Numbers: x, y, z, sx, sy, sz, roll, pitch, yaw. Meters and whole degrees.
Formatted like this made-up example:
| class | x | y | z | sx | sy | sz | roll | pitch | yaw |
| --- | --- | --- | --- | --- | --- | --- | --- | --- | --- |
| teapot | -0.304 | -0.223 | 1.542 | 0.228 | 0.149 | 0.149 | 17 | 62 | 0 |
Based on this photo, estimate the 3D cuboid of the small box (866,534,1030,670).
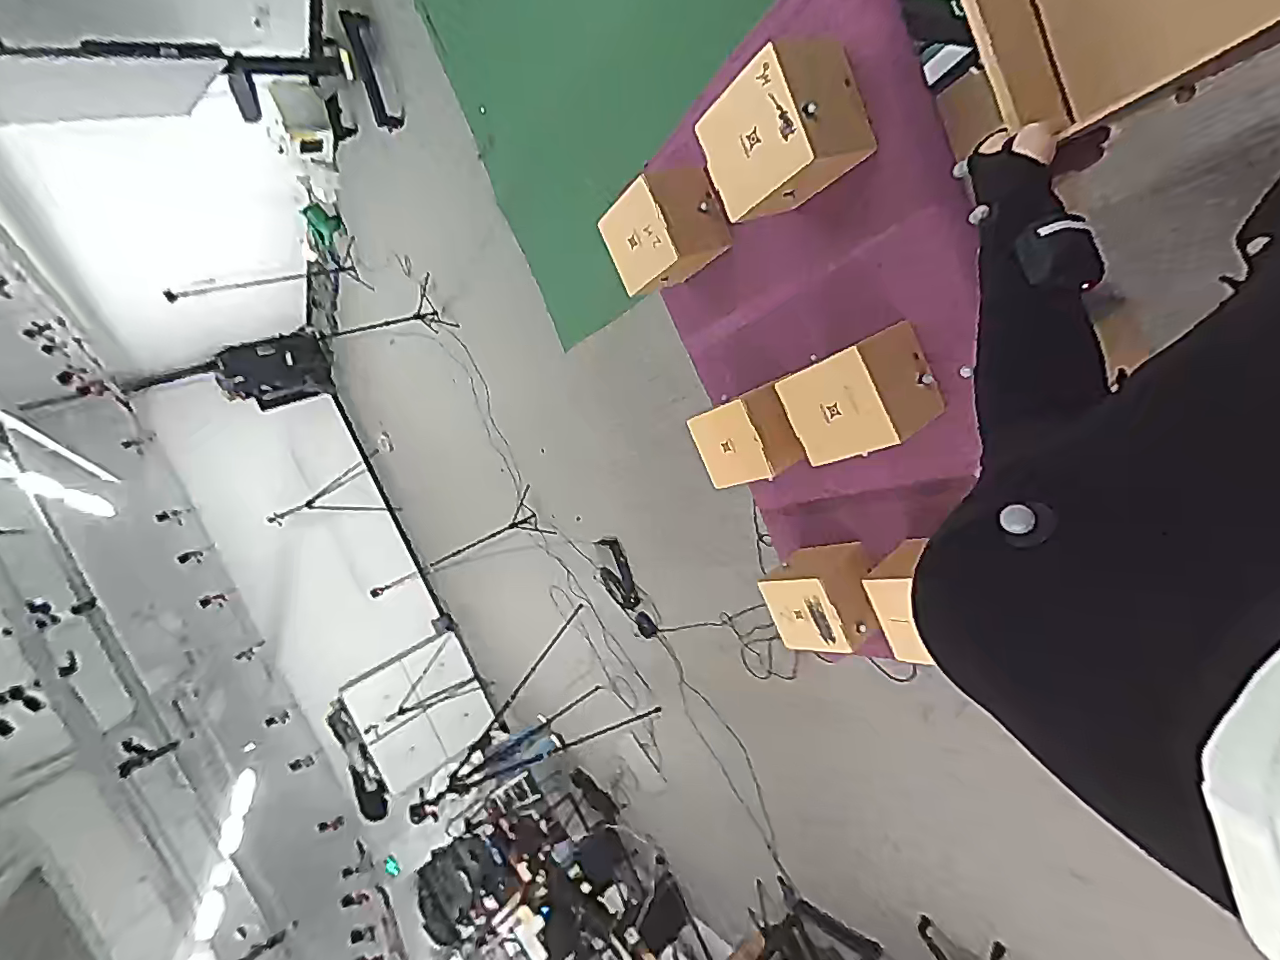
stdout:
| class | x | y | z | sx | sy | sz | roll | pitch | yaw |
| --- | --- | --- | --- | --- | --- | --- | --- | --- | --- |
| small box | 0.538 | 0.204 | 0.937 | 0.179 | 0.176 | 0.168 | -20 | 95 | 59 |

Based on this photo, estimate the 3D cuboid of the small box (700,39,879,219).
| class | x | y | z | sx | sy | sz | roll | pitch | yaw |
| --- | --- | --- | --- | --- | --- | --- | --- | --- | --- |
| small box | 0.232 | -0.538 | 0.844 | 0.179 | 0.176 | 0.168 | -13 | 103 | 59 |

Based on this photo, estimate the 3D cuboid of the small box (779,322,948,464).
| class | x | y | z | sx | sy | sz | roll | pitch | yaw |
| --- | --- | --- | --- | --- | --- | --- | --- | --- | --- |
| small box | 0.379 | -0.145 | 0.919 | 0.179 | 0.176 | 0.168 | -20 | 96 | 57 |

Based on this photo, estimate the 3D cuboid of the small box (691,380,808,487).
| class | x | y | z | sx | sy | sz | roll | pitch | yaw |
| --- | --- | --- | --- | --- | --- | --- | --- | --- | --- |
| small box | 0.244 | -0.100 | 1.139 | 0.179 | 0.176 | 0.168 | -18 | 97 | 56 |

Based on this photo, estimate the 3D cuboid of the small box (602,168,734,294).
| class | x | y | z | sx | sy | sz | roll | pitch | yaw |
| --- | --- | --- | --- | --- | --- | --- | --- | --- | --- |
| small box | 0.058 | -0.506 | 1.105 | 0.179 | 0.176 | 0.168 | -15 | 102 | 55 |

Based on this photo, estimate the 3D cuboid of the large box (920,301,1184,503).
| class | x | y | z | sx | sy | sz | roll | pitch | yaw |
| --- | --- | --- | --- | --- | --- | --- | --- | --- | --- |
| large box | 0.963 | -0.174 | 1.308 | 0.408 | 0.320 | 0.320 | -22 | 93 | 58 |
